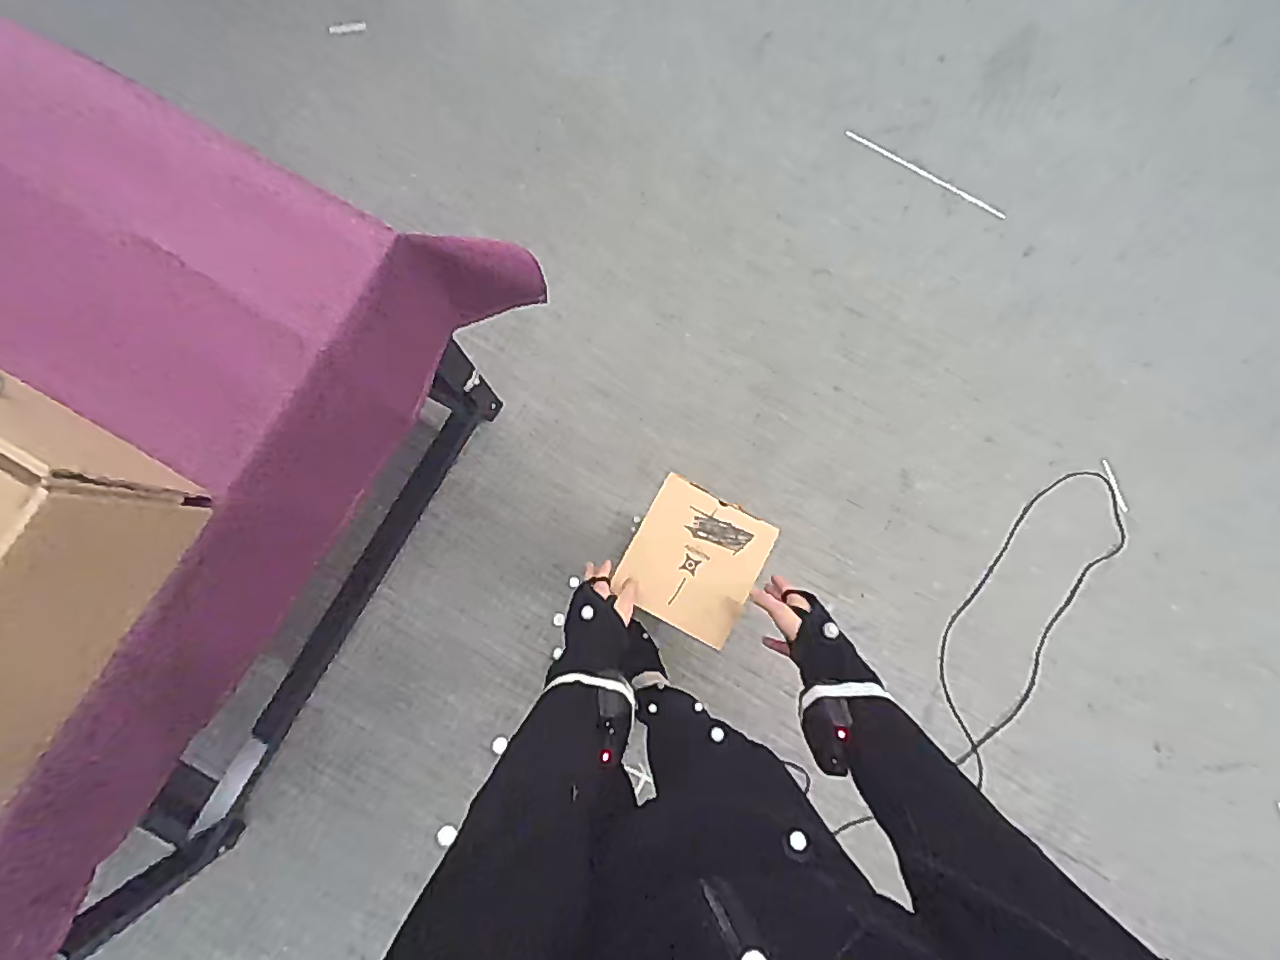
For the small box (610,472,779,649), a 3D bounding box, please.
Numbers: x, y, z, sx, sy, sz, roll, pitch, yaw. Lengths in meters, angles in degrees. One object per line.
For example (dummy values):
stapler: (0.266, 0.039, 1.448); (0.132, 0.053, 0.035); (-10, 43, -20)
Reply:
small box: (0.069, 0.111, 0.773); (0.168, 0.176, 0.179); (28, 83, 3)
